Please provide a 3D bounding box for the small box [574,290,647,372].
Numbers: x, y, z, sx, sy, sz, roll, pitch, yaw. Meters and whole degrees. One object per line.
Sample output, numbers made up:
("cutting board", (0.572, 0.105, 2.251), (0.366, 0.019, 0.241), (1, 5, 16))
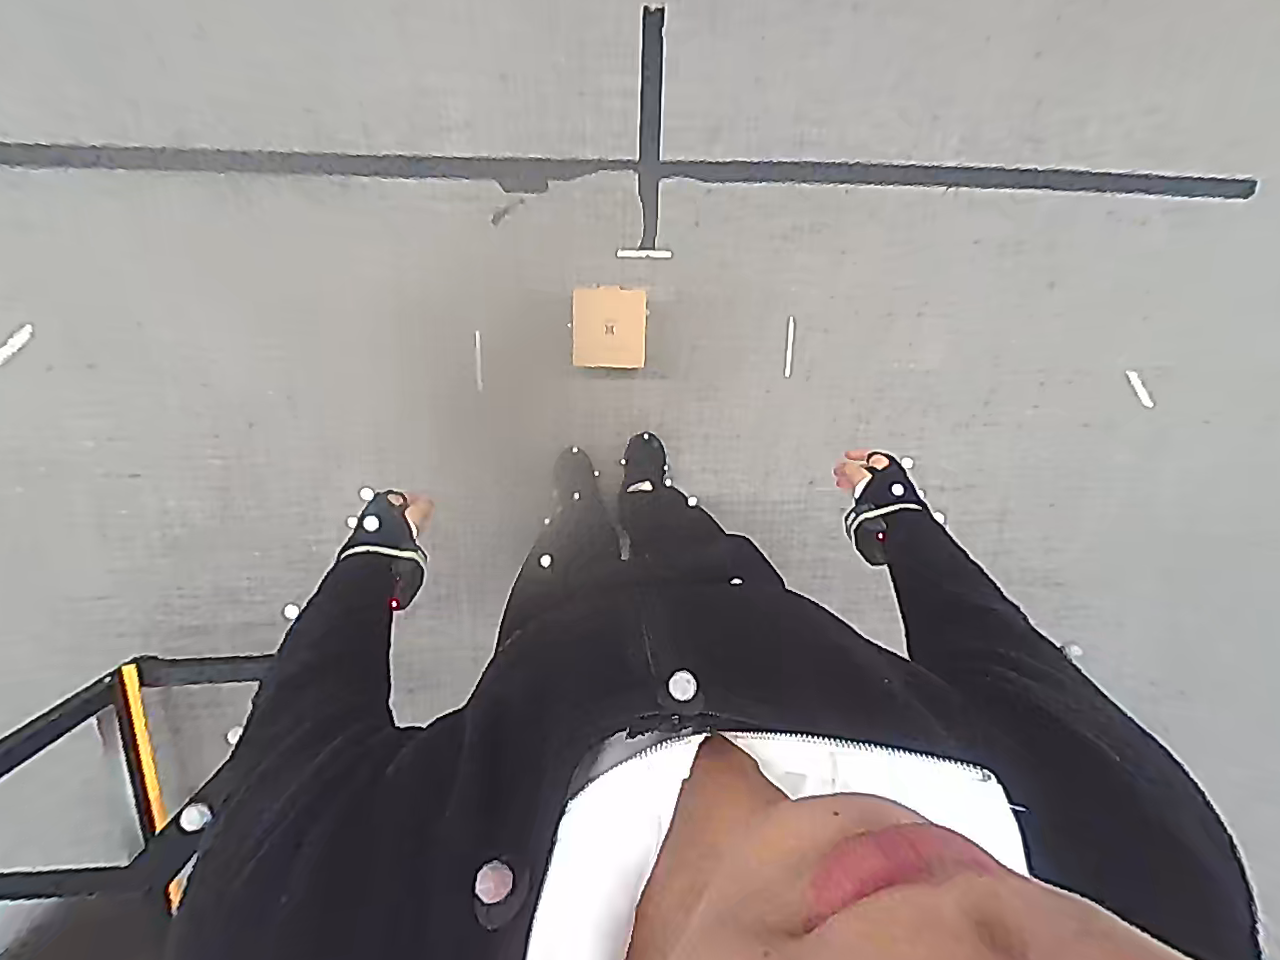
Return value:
("small box", (-0.073, -0.351, 1.298), (0.168, 0.176, 0.179), (0, 103, -3))
